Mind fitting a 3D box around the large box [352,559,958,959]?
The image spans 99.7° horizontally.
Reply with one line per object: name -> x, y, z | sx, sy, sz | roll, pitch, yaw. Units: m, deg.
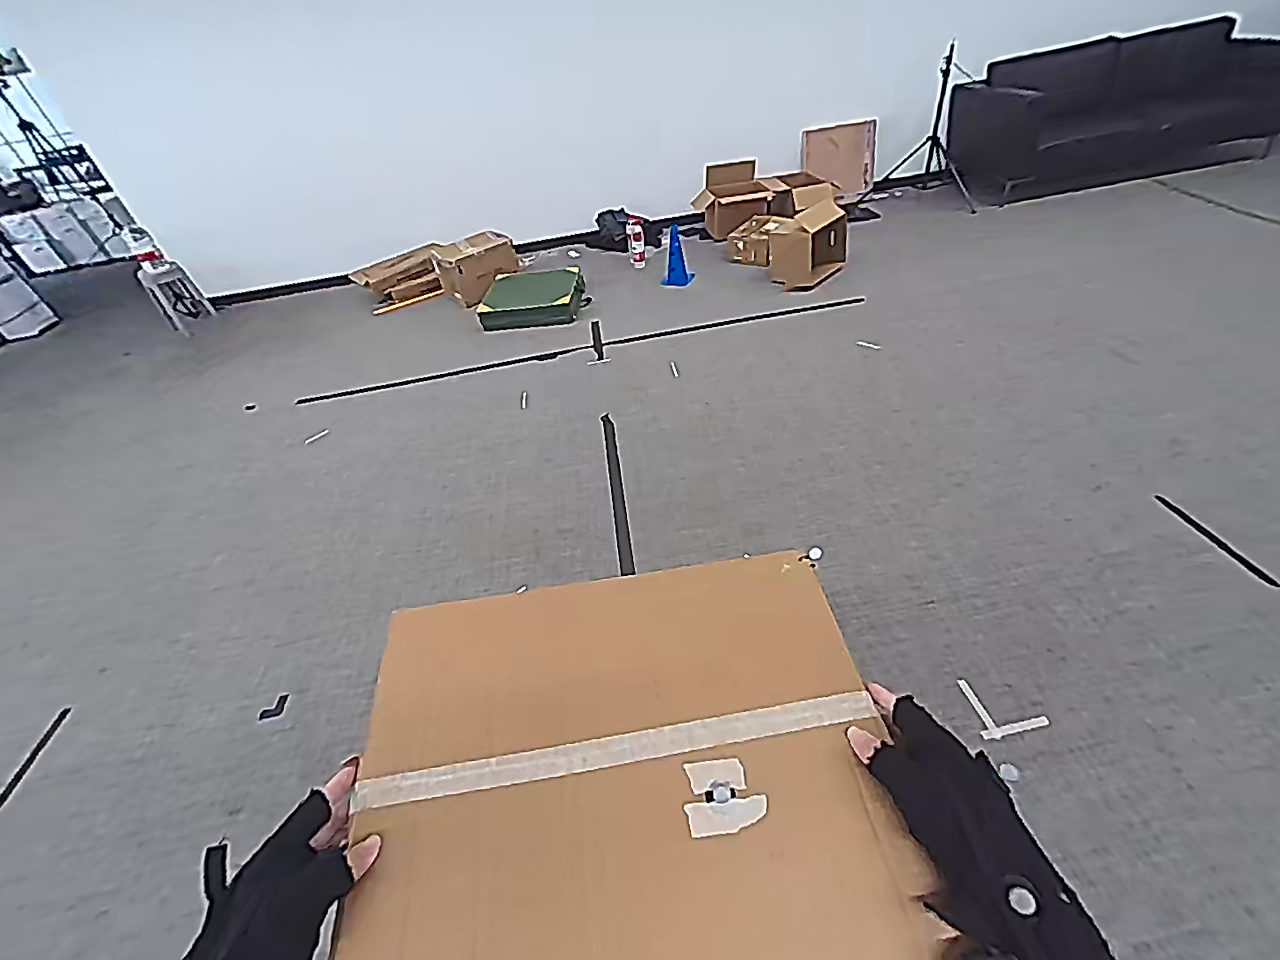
large box -> -0.003, 0.320, 0.544 | 0.408, 0.320, 0.320 | -8, 48, -4
